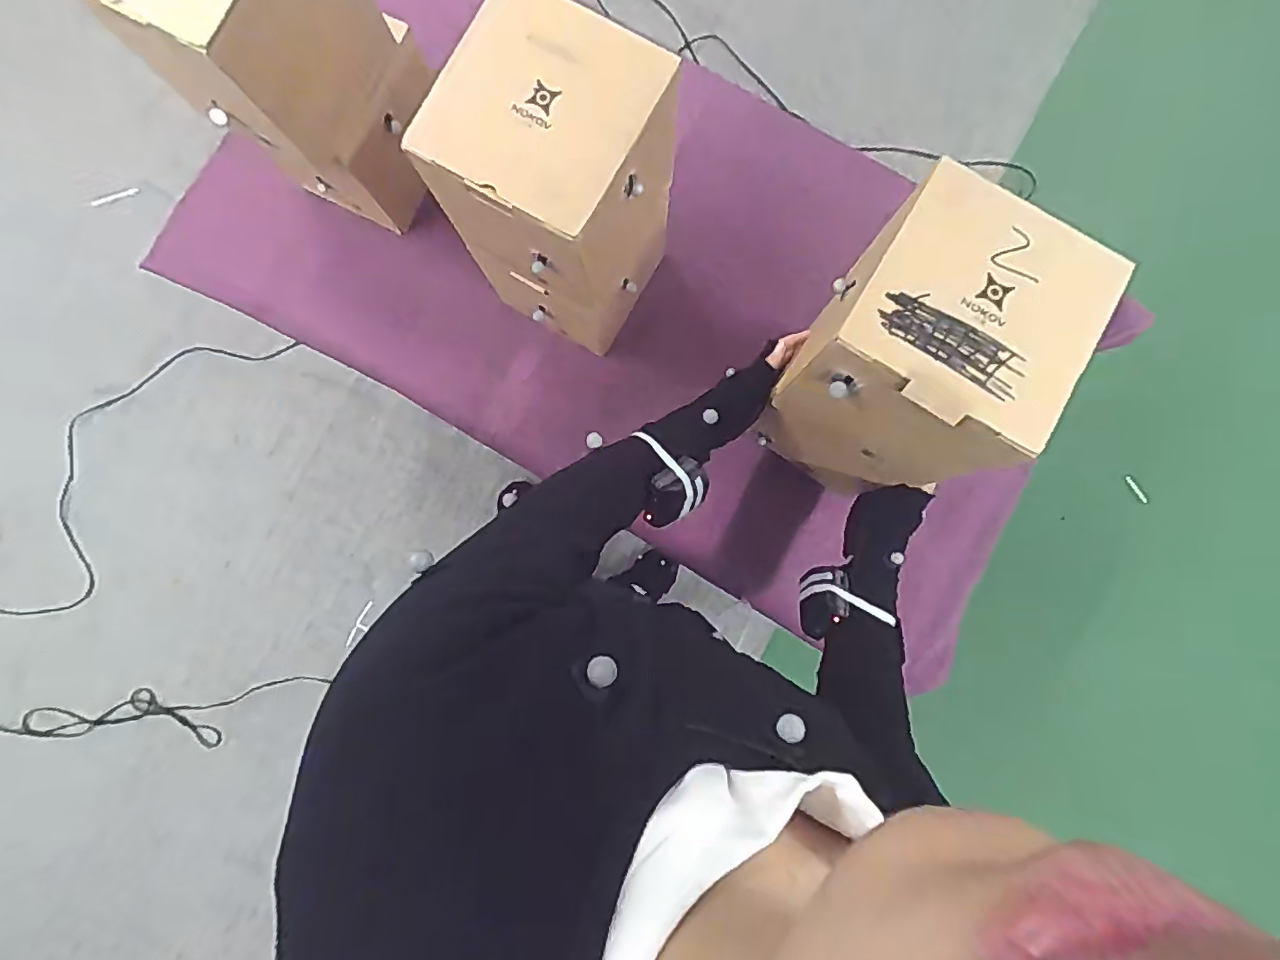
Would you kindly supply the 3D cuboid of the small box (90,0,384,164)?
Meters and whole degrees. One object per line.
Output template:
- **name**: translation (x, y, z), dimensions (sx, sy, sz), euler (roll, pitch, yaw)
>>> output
- **small box**: translation (-0.380, -0.458, 0.520), dimensions (0.168, 0.176, 0.179), euler (27, 88, 2)

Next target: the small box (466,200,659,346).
- **small box**: translation (-0.080, -0.294, 0.675), dimensions (0.168, 0.176, 0.179), euler (27, 87, 3)

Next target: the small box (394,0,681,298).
- **small box**: translation (-0.076, -0.299, 0.493), dimensions (0.168, 0.176, 0.179), euler (30, 87, 2)

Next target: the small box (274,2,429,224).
- **small box**: translation (-0.367, -0.470, 0.685), dimensions (0.168, 0.176, 0.179), euler (26, 88, 1)

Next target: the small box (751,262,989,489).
- **small box**: translation (0.249, -0.106, 0.637), dimensions (0.168, 0.176, 0.179), euler (35, 82, 3)
